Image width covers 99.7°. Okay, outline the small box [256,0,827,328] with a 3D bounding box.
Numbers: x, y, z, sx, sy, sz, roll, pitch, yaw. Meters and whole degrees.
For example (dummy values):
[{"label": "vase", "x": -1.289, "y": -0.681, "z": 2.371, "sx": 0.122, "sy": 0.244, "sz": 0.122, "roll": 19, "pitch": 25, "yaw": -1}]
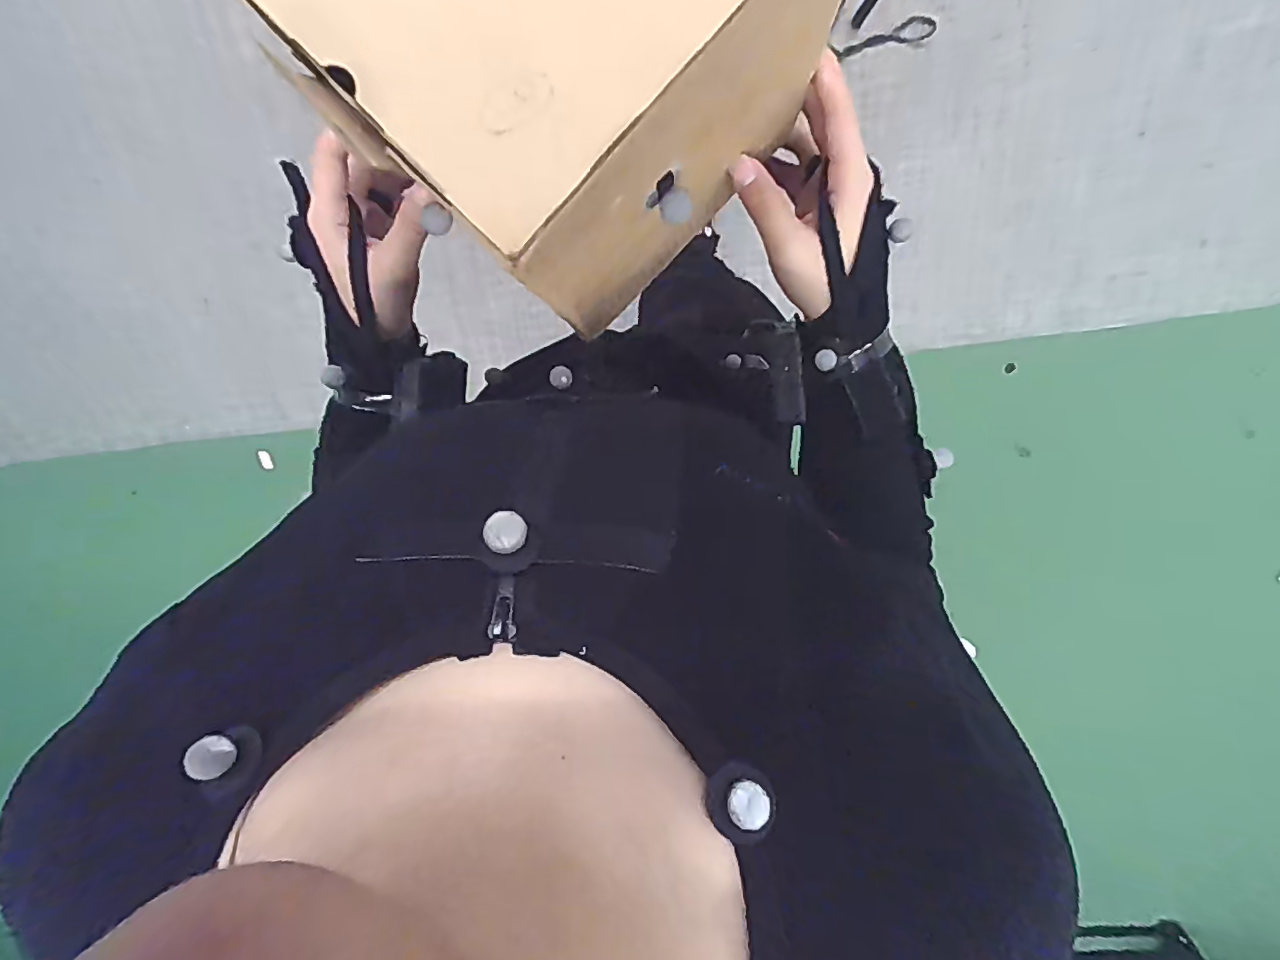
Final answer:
[{"label": "small box", "x": -0.028, "y": -0.200, "z": 0.263, "sx": 0.168, "sy": 0.176, "sz": 0.179, "roll": 45, "pitch": 97, "yaw": -1}]
